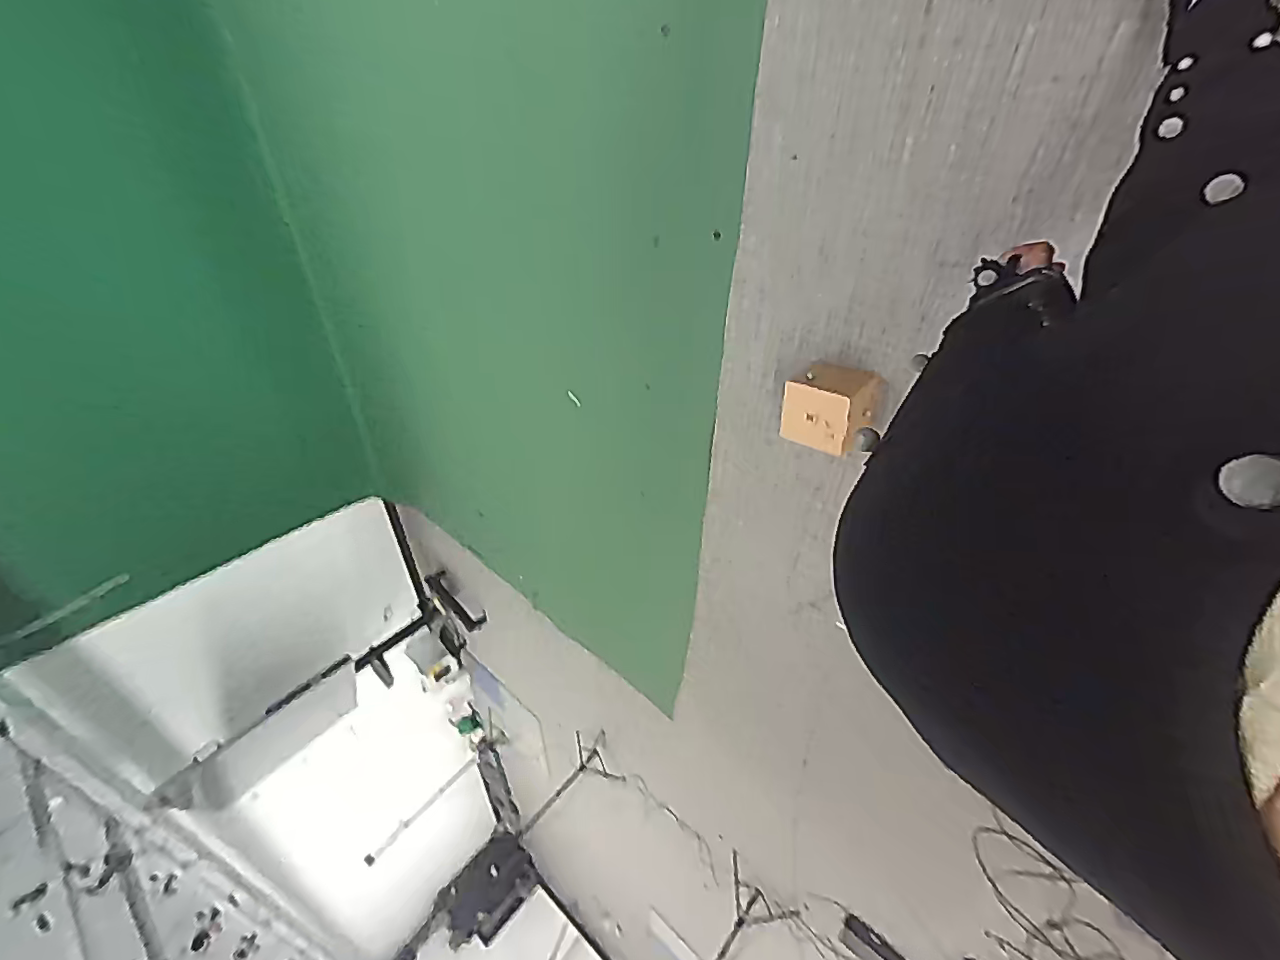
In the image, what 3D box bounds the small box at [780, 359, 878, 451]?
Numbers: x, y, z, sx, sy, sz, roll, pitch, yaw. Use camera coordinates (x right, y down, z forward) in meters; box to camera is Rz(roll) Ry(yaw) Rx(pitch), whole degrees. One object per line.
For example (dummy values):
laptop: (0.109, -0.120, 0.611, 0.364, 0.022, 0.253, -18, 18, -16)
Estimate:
small box: (0.492, -0.204, 1.413, 0.179, 0.176, 0.168, 25, 133, 34)
